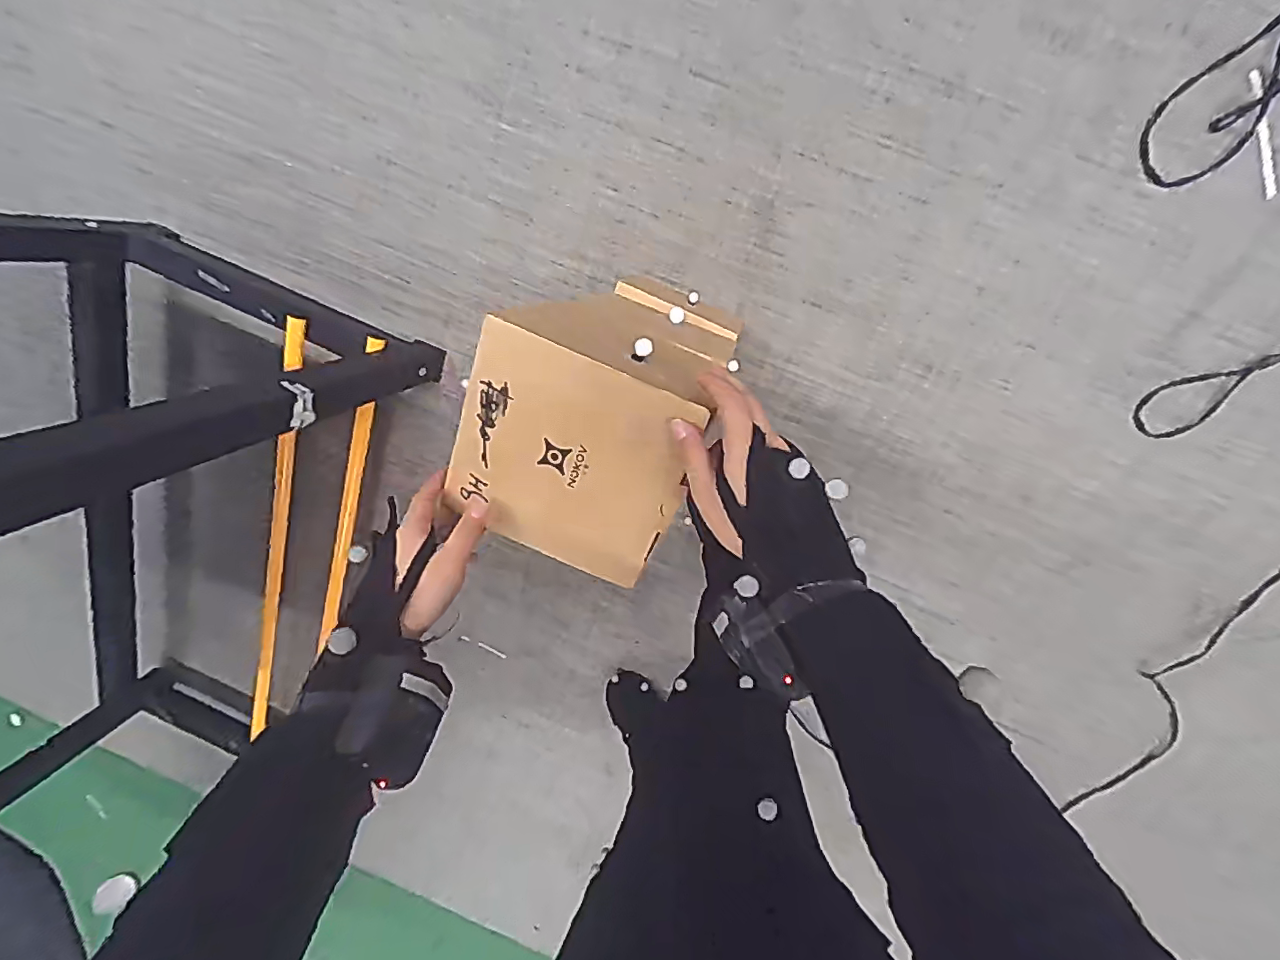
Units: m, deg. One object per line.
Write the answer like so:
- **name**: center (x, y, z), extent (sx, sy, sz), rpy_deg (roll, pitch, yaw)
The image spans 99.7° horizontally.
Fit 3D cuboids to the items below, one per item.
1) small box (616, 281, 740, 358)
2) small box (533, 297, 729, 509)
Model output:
- **small box**: center (0.032, -0.170, 0.777), extent (0.168, 0.176, 0.179), rpy_deg (25, 113, 2)
- **small box**: center (-0.001, -0.099, 0.633), extent (0.168, 0.176, 0.179), rpy_deg (23, 113, 3)
